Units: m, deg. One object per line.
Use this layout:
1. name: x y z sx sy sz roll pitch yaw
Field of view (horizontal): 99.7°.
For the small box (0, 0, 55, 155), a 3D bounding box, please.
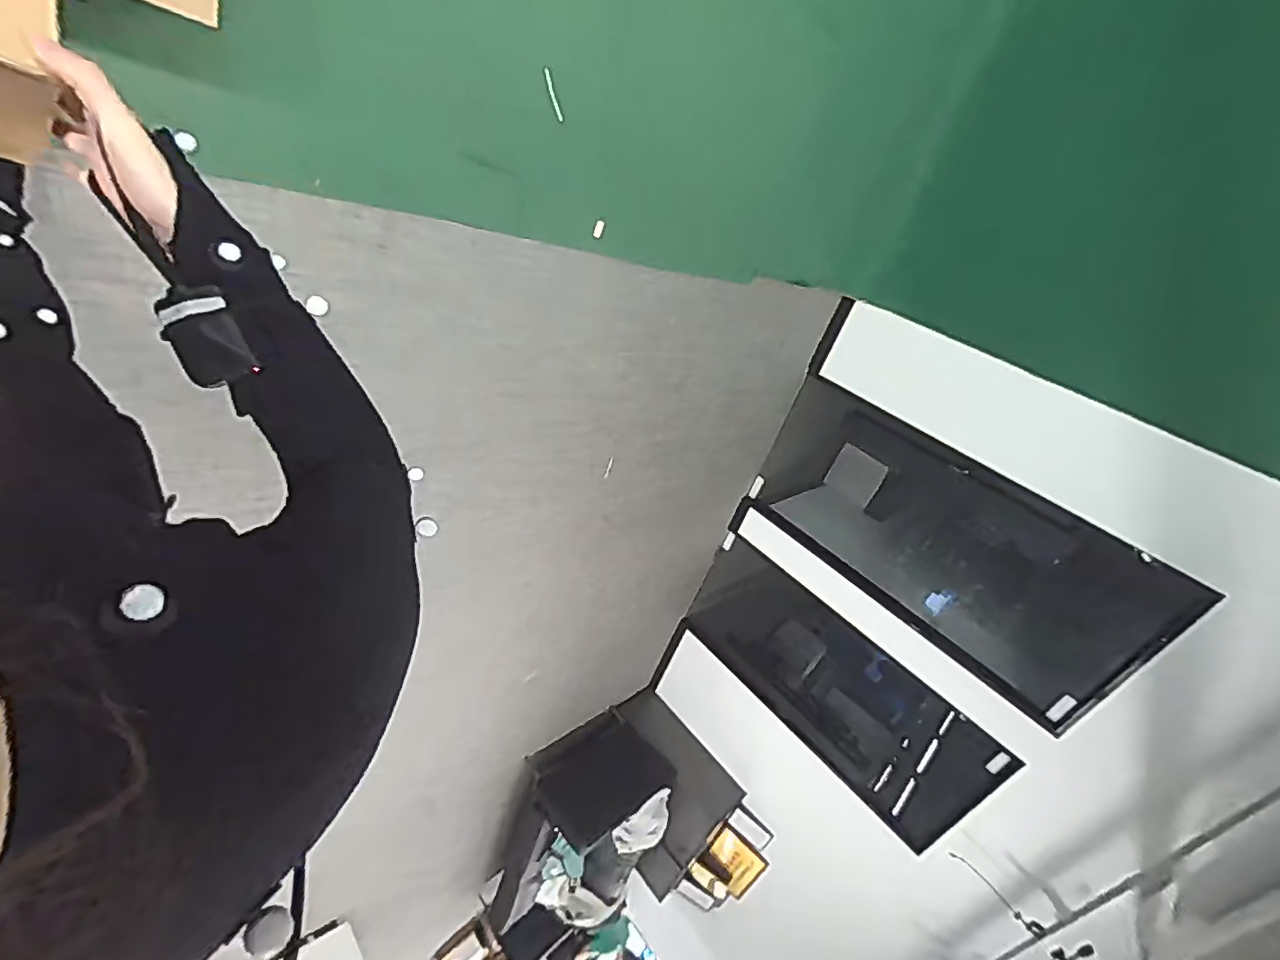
1. small box: -0.455 -0.322 0.297 0.168 0.176 0.179 -5 98 -50
